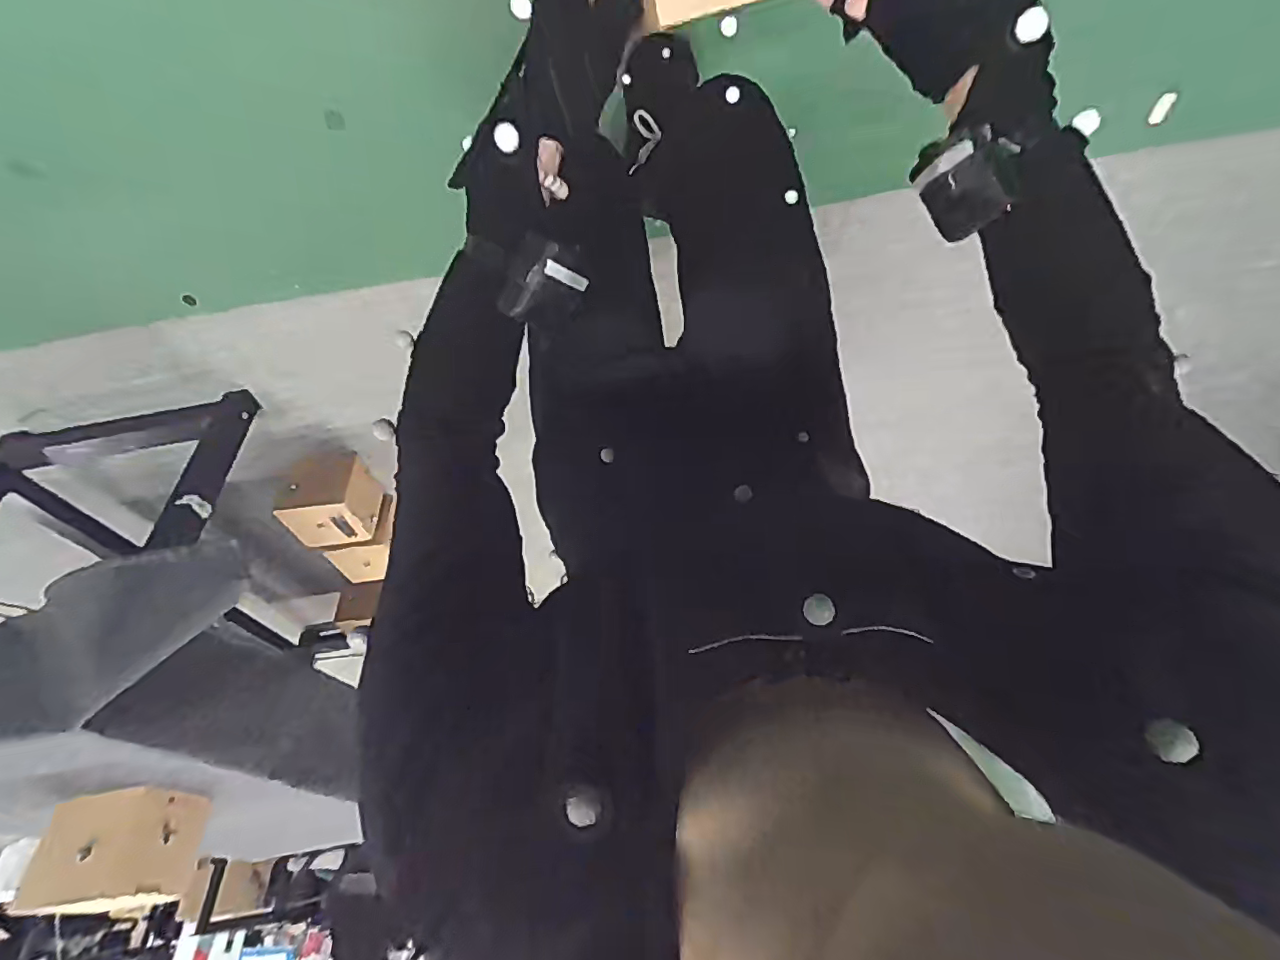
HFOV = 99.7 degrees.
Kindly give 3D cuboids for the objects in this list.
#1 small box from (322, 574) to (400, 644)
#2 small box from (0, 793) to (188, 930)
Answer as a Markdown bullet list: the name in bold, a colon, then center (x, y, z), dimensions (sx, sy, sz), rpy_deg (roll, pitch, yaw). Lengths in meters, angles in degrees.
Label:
- **small box**: center (-0.937, 0.435, 1.833), dimensions (0.179, 0.176, 0.168), rpy_deg (-4, 141, -6)
- **small box**: center (-0.955, 0.671, 0.958), dimensions (0.179, 0.176, 0.168), rpy_deg (-12, 141, 1)
